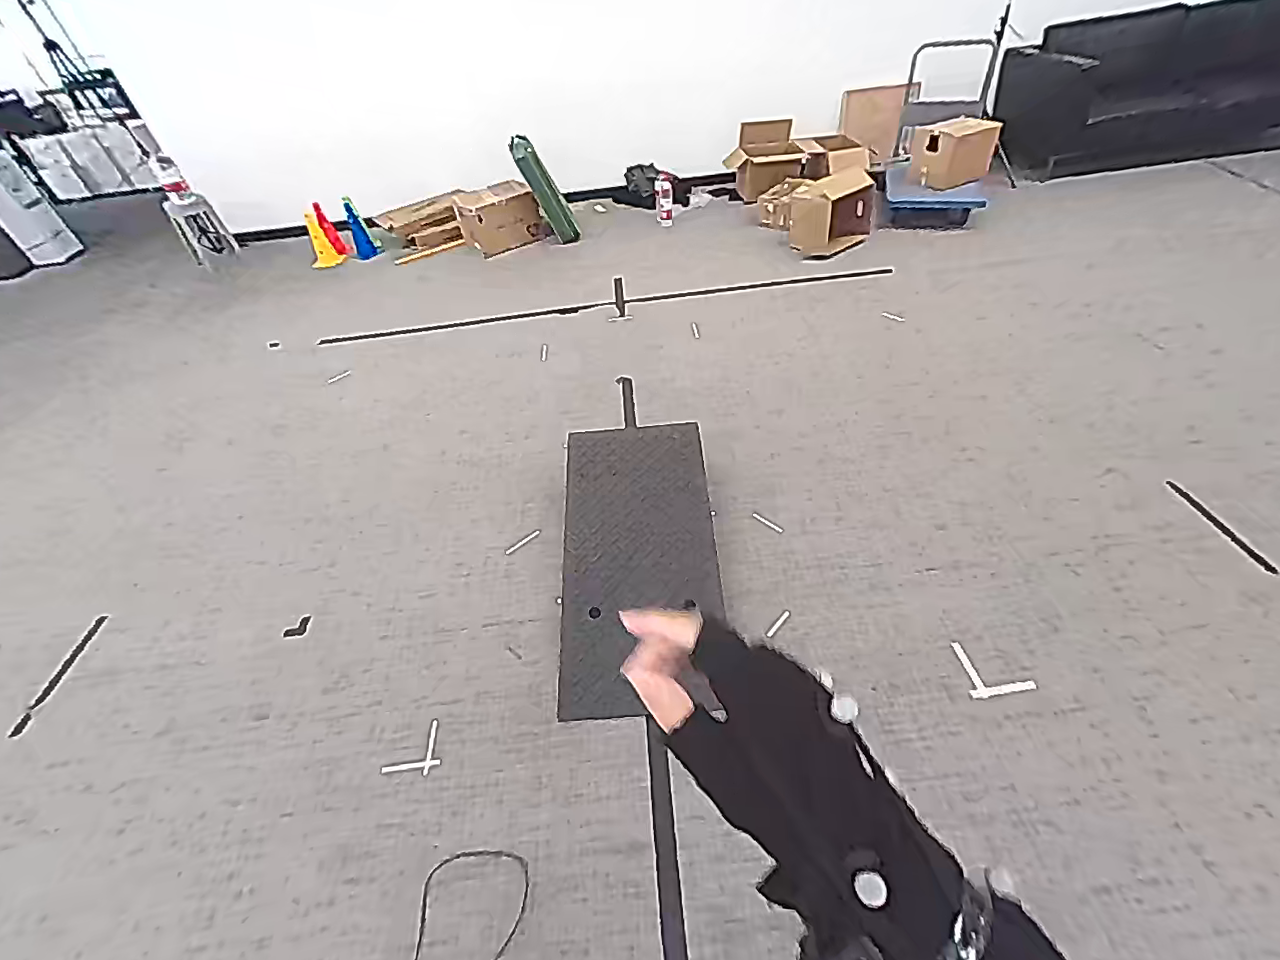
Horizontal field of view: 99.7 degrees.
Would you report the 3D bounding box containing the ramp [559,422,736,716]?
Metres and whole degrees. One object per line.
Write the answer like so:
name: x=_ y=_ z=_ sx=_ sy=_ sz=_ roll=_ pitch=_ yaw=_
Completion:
ramp: x=-0.003 y=0.214 z=1.740 sx=0.509 sy=0.206 sz=0.991 roll=-5 pitch=45 yaw=0
